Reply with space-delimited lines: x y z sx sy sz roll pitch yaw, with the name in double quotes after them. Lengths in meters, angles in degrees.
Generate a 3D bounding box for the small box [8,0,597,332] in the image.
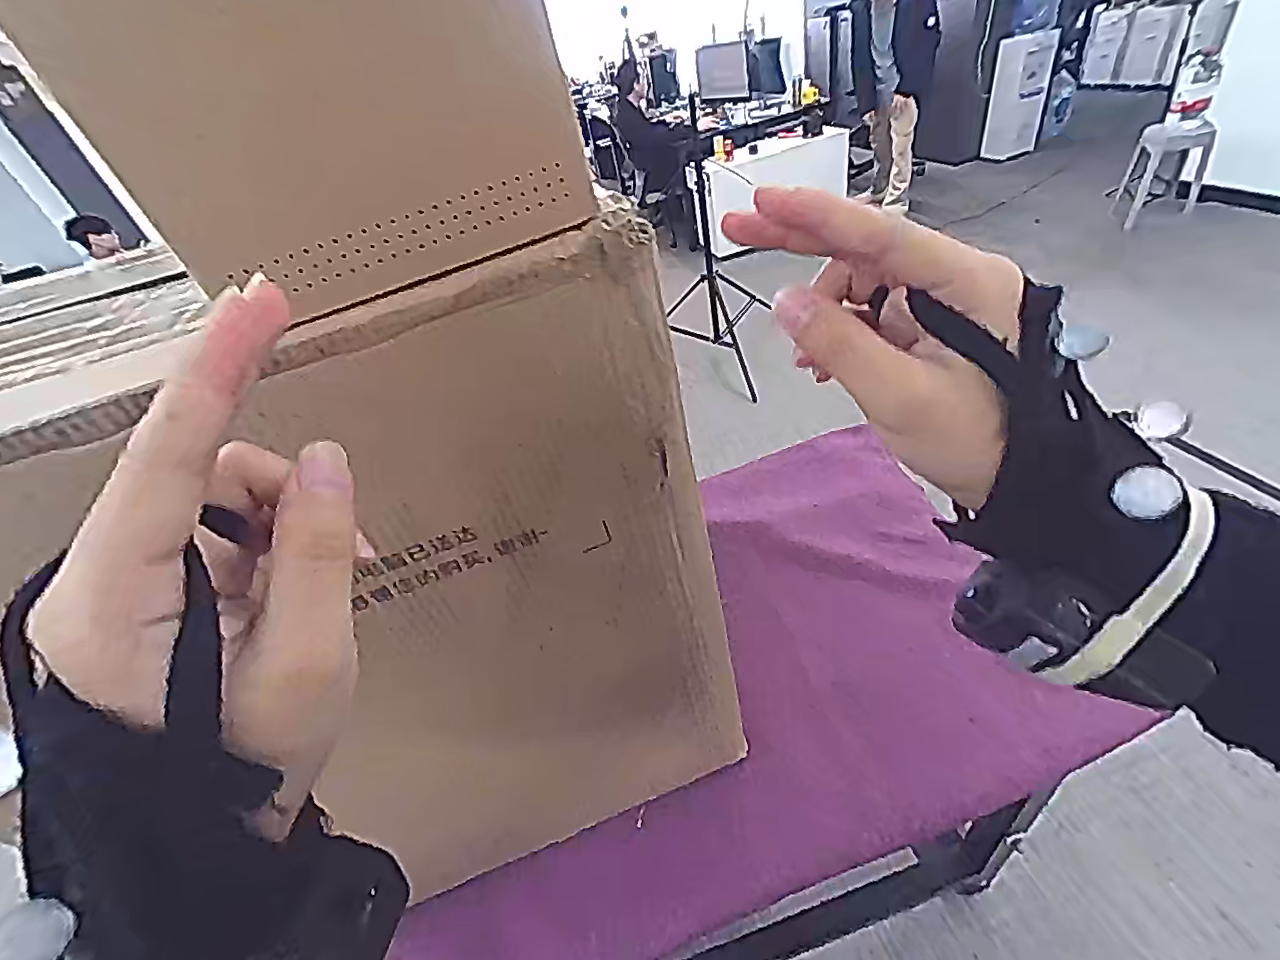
-0.141 -0.194 0.261 0.179 0.176 0.168 -23 40 -7 "small box"
